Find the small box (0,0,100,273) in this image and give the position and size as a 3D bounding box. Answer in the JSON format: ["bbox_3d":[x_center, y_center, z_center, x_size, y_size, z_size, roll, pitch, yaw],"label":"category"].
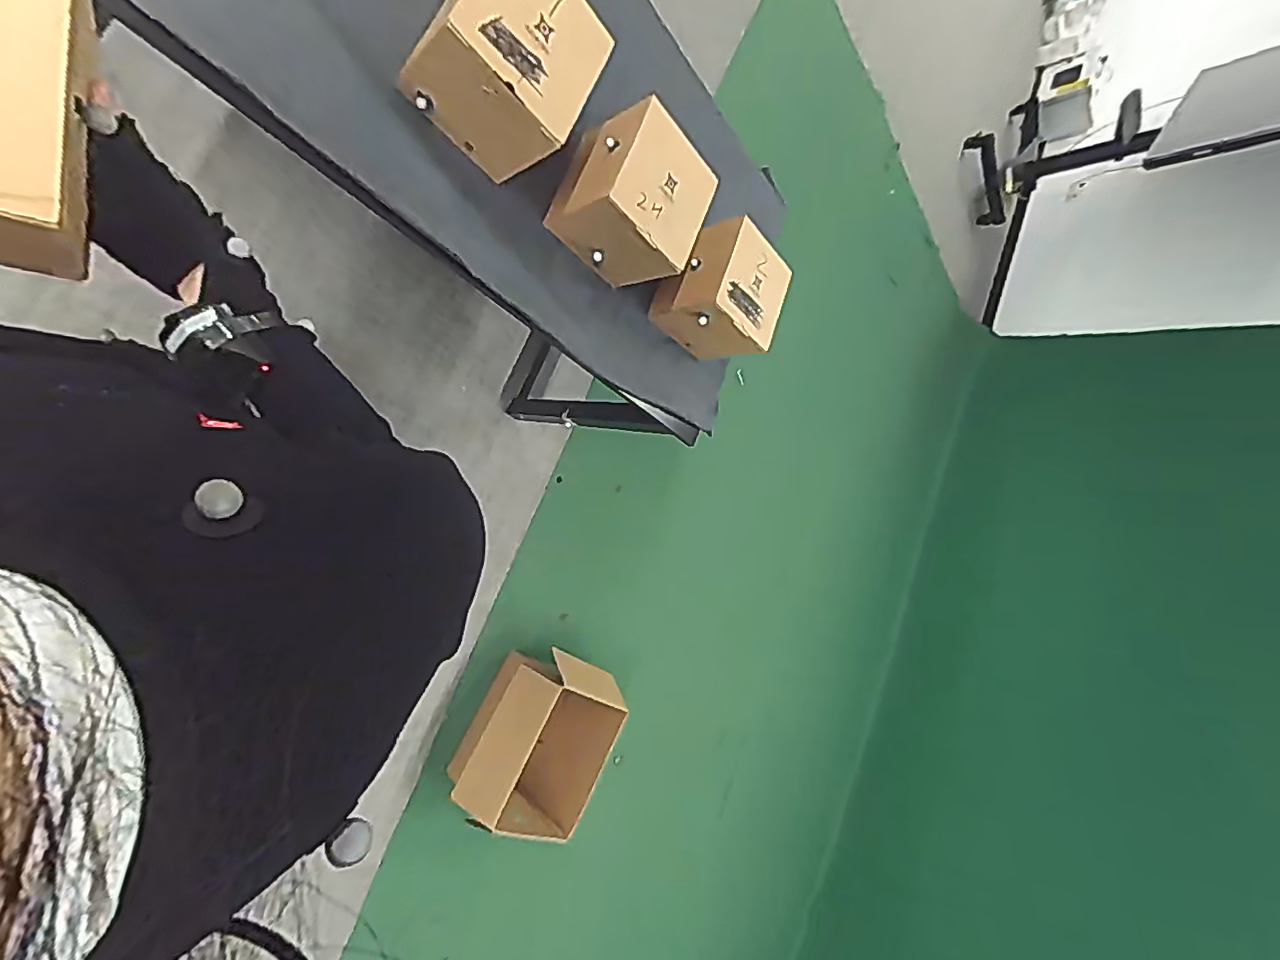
[{"bbox_3d":[-0.421,-0.235,0.300,0.168,0.176,0.179,2,96,-44],"label":"small box"}]

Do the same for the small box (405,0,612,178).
[{"bbox_3d":[-0.173,-0.529,0.691,0.168,0.176,0.179,33,74,-41],"label":"small box"}]

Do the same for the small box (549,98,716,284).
[{"bbox_3d":[-0.015,-0.436,0.850,0.168,0.176,0.179,30,77,-41],"label":"small box"}]
